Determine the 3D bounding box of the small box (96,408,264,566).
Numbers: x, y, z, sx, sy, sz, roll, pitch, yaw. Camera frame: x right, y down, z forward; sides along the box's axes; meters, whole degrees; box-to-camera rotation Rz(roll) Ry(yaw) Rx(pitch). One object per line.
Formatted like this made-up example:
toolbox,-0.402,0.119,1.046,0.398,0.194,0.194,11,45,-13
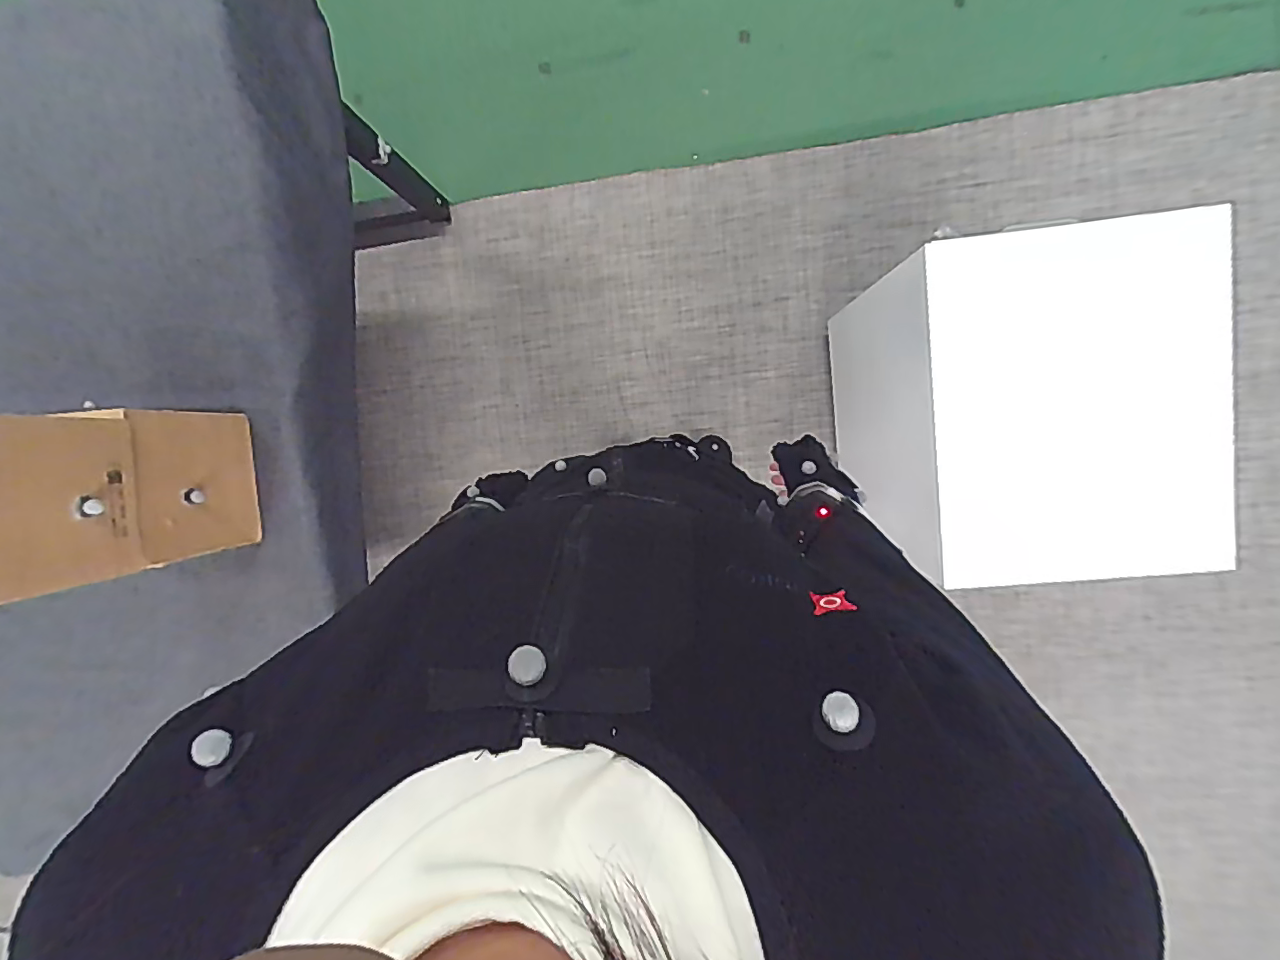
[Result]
small box,-0.614,0.002,0.679,0.168,0.176,0.179,-3,95,7

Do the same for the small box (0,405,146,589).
small box,-0.637,0.017,0.517,0.179,0.176,0.168,-3,95,8
